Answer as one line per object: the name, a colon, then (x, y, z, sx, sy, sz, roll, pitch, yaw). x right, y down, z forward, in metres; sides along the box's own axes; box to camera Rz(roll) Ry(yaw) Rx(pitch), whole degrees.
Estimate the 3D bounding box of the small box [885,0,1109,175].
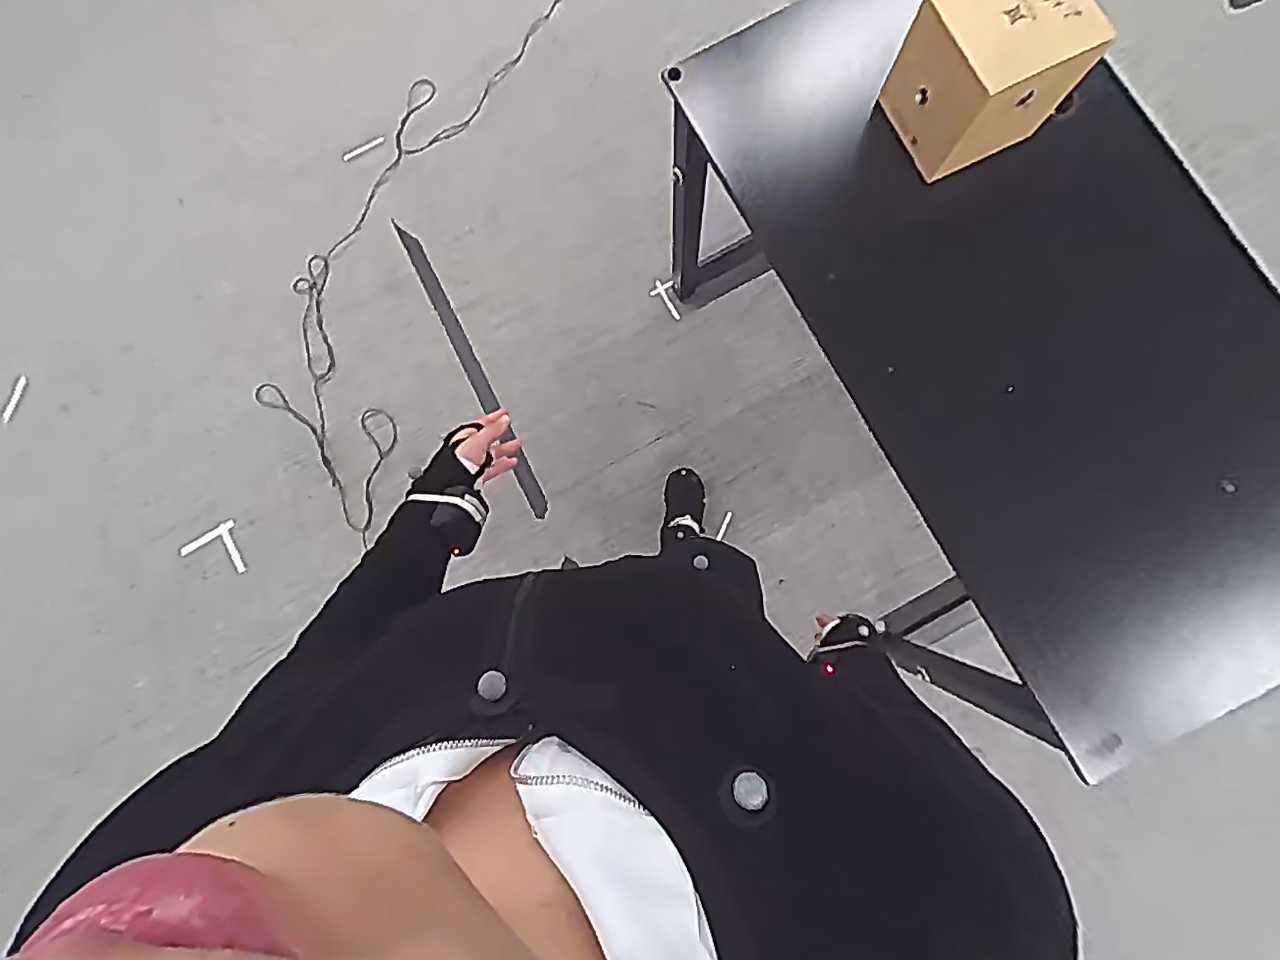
small box: (0.471, -0.571, 0.753, 0.179, 0.176, 0.168, -25, 82, 0)
